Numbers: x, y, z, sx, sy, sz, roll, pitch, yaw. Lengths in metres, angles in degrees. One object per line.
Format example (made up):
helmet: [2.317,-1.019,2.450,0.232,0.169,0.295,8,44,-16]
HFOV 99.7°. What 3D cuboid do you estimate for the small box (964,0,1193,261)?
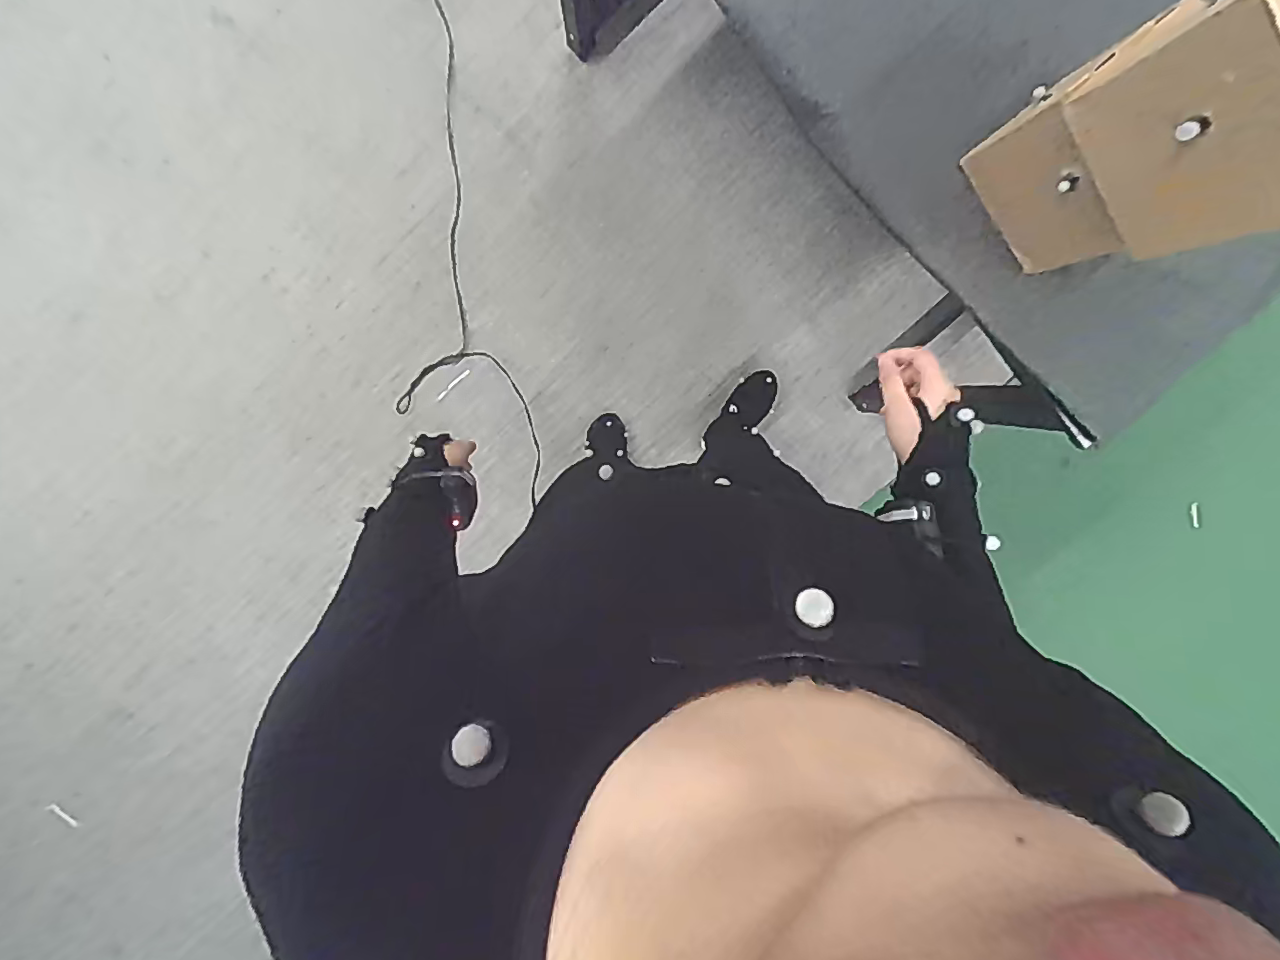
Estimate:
small box: [0.514,-0.379,0.606,0.168,0.176,0.179,-38,100,4]

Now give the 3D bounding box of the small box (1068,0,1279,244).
small box: [0.517,-0.332,0.448,0.168,0.176,0.179,-35,99,4]
